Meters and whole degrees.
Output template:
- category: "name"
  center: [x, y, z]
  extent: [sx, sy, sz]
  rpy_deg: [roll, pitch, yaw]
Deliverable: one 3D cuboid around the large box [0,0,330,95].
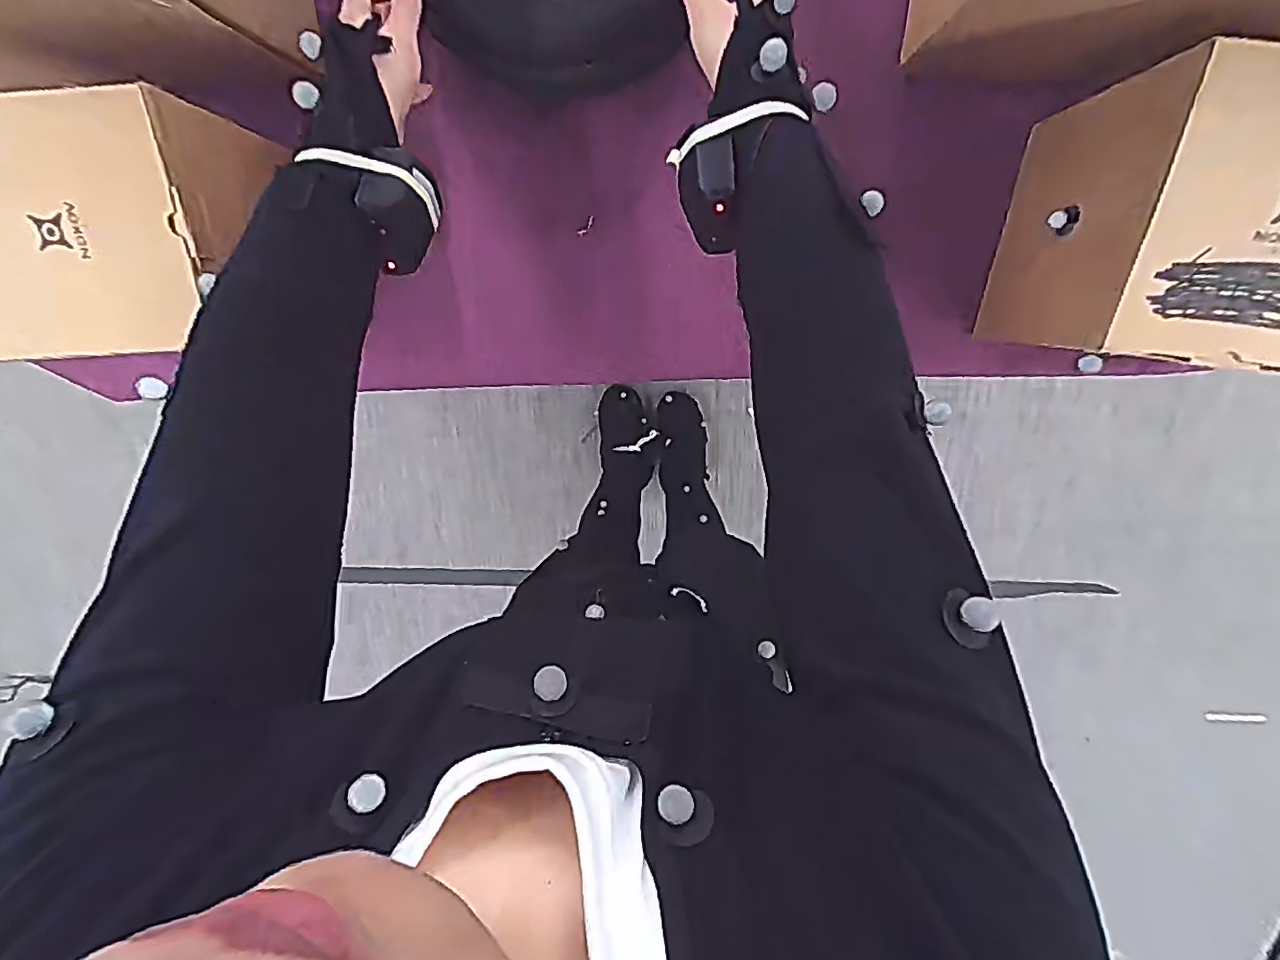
- category: "large box"
  center: [-0.435, -0.487, 0.283]
  extent: [0.320, 0.320, 0.408]
  rpy_deg: [-1, 111, 2]
